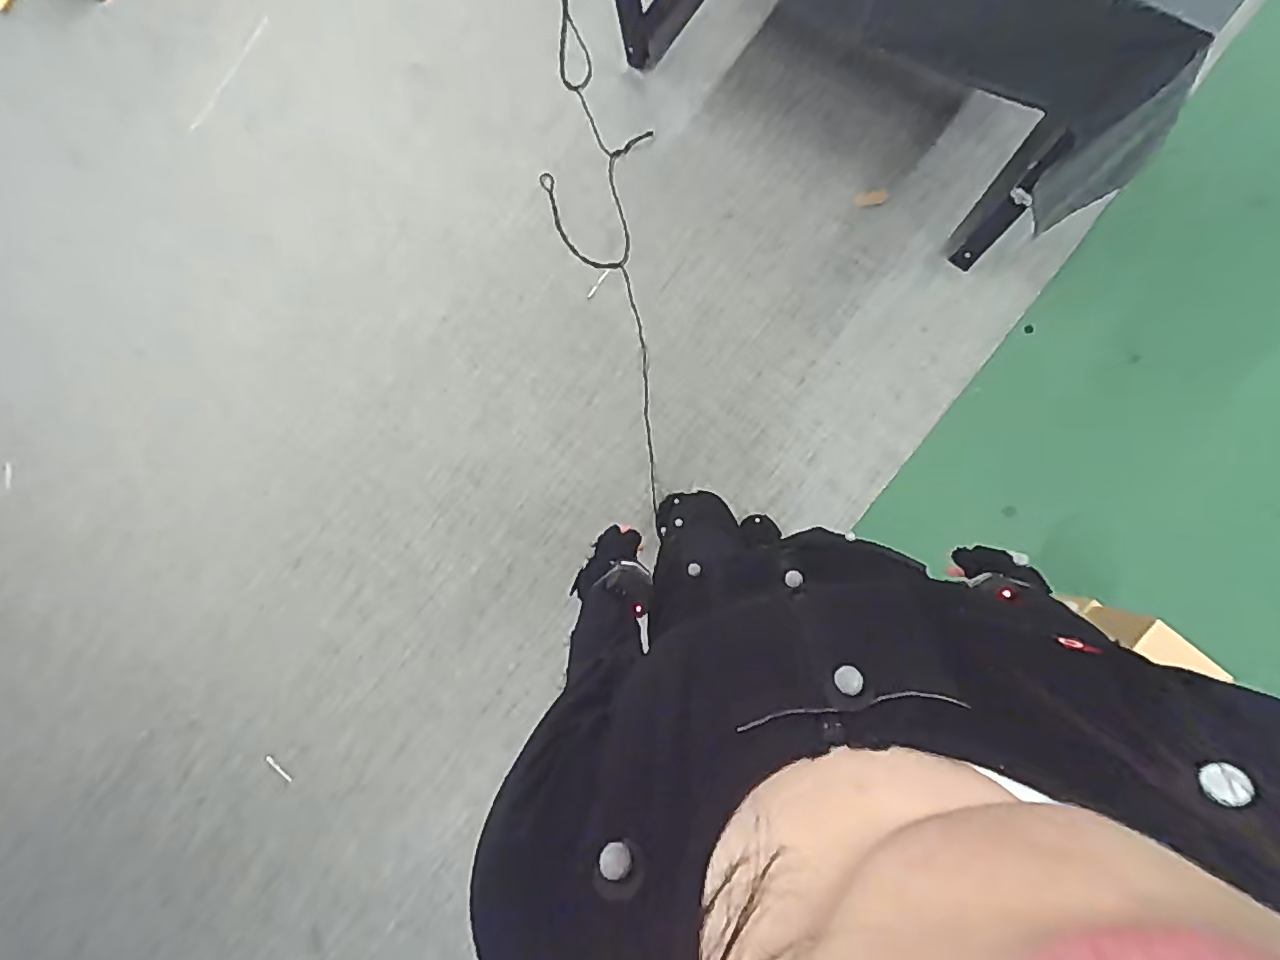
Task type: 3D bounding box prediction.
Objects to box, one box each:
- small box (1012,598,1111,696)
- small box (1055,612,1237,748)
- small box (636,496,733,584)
[{"bbox_3d":[1.025,0.392,1.259,0.179,0.176,0.168,43,91,9],"label":"small box"},{"bbox_3d":[1.005,0.391,1.095,0.168,0.176,0.179,42,91,9],"label":"small box"},{"bbox_3d":[0.111,0.155,1.406,0.179,0.176,0.168,29,95,28],"label":"small box"}]
